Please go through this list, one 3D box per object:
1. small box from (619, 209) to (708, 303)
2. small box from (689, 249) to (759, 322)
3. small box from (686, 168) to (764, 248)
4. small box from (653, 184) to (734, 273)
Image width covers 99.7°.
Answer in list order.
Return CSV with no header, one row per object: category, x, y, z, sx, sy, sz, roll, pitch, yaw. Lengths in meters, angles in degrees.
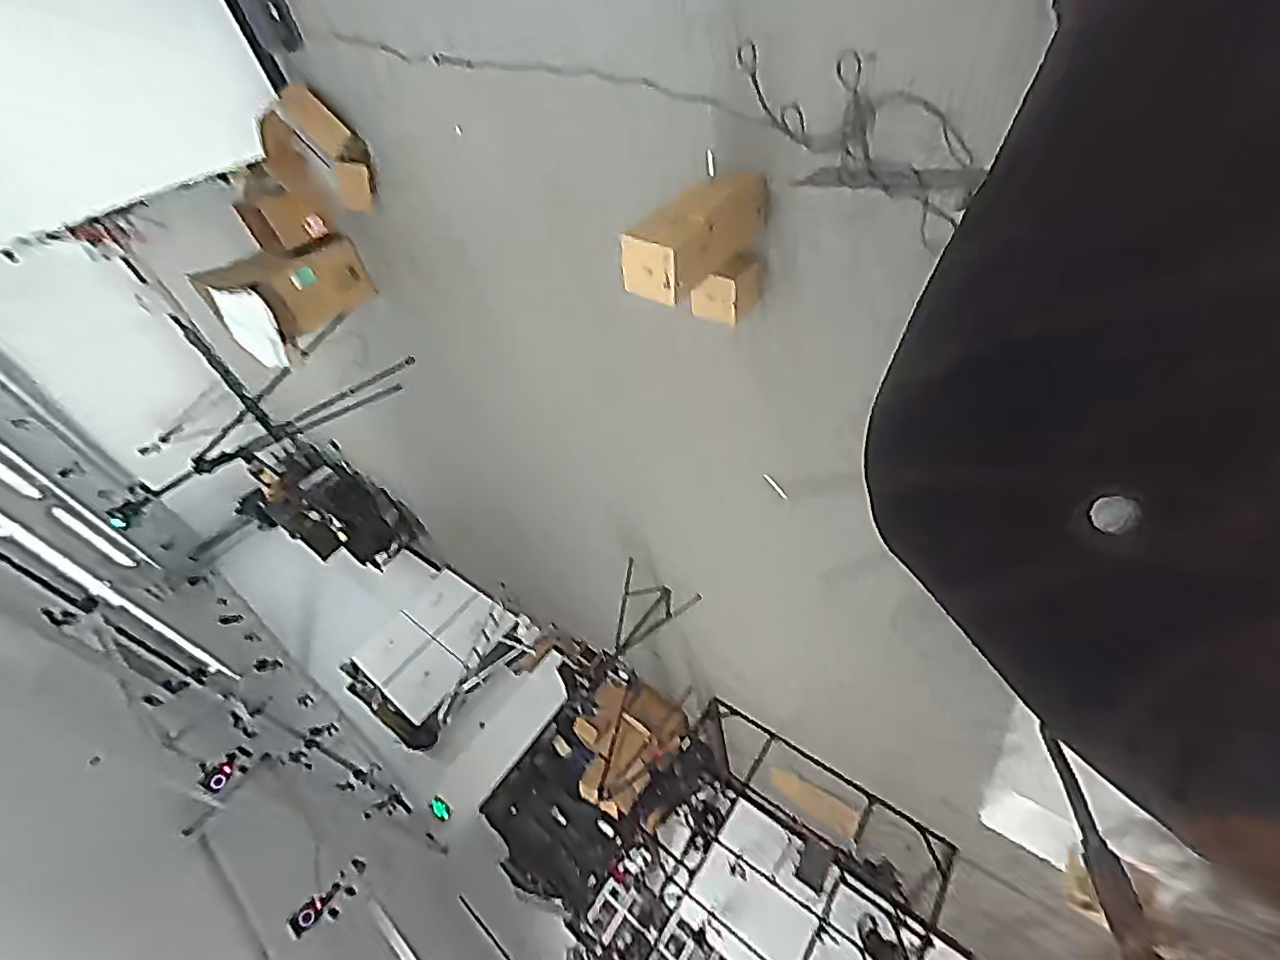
small box,0.065,-0.622,1.488,0.179,0.176,0.168,30,148,25
small box,0.282,-0.666,1.828,0.179,0.176,0.168,26,147,28
small box,0.259,-0.832,1.647,0.179,0.176,0.168,23,145,32
small box,0.162,-0.729,1.567,0.168,0.176,0.179,24,146,31
